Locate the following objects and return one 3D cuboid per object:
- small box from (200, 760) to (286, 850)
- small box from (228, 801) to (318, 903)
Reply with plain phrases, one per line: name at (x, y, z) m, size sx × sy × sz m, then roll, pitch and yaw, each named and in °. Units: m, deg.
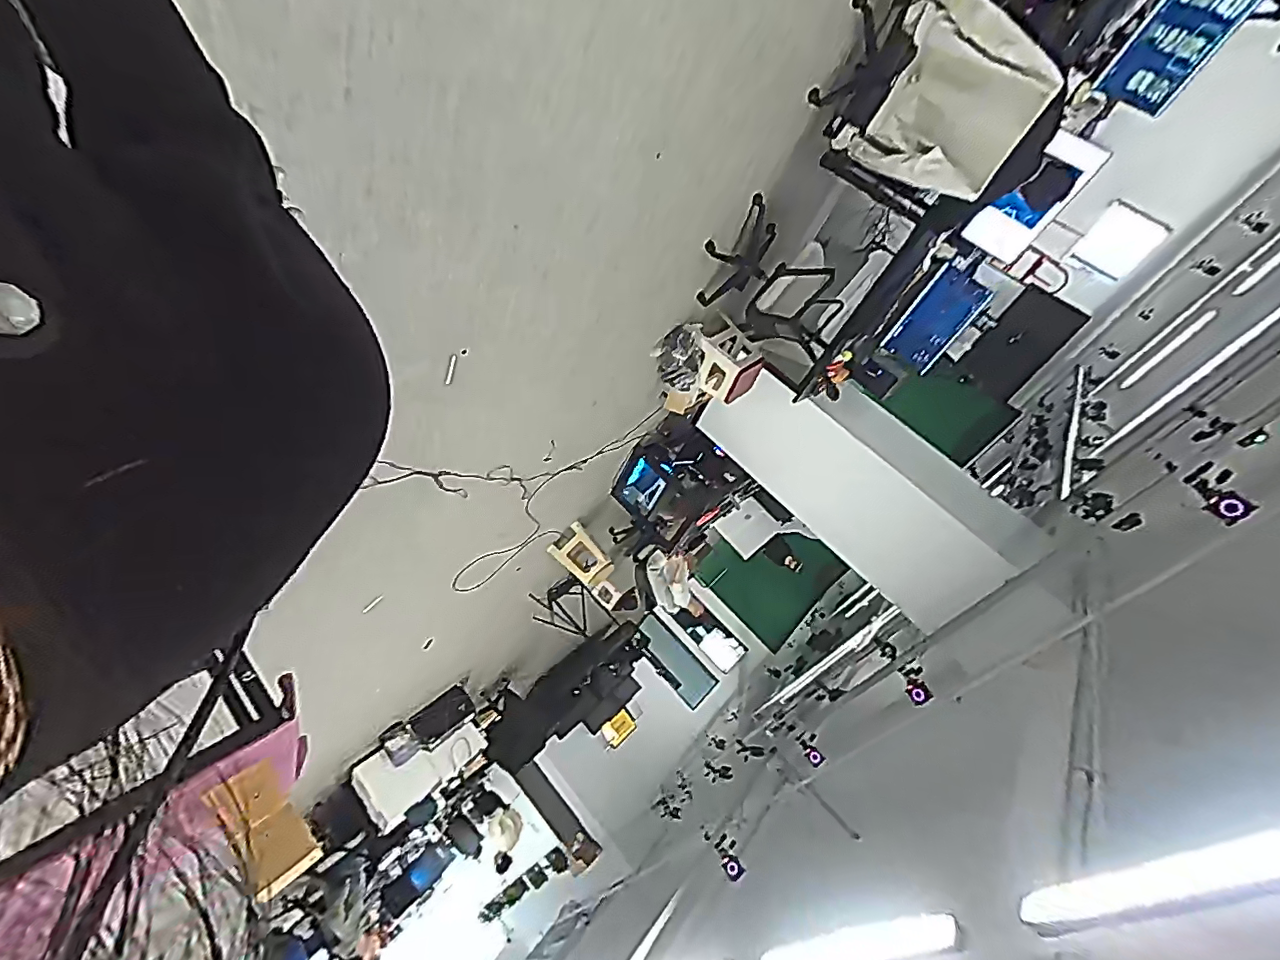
small box at (-1.214, 1.000, 1.661) m, size 0.168 × 0.176 × 0.179 m, roll -29°, pitch 157°, yaw -44°
small box at (-1.102, 1.113, 1.622) m, size 0.179 × 0.176 × 0.168 m, roll -29°, pitch 157°, yaw -42°
